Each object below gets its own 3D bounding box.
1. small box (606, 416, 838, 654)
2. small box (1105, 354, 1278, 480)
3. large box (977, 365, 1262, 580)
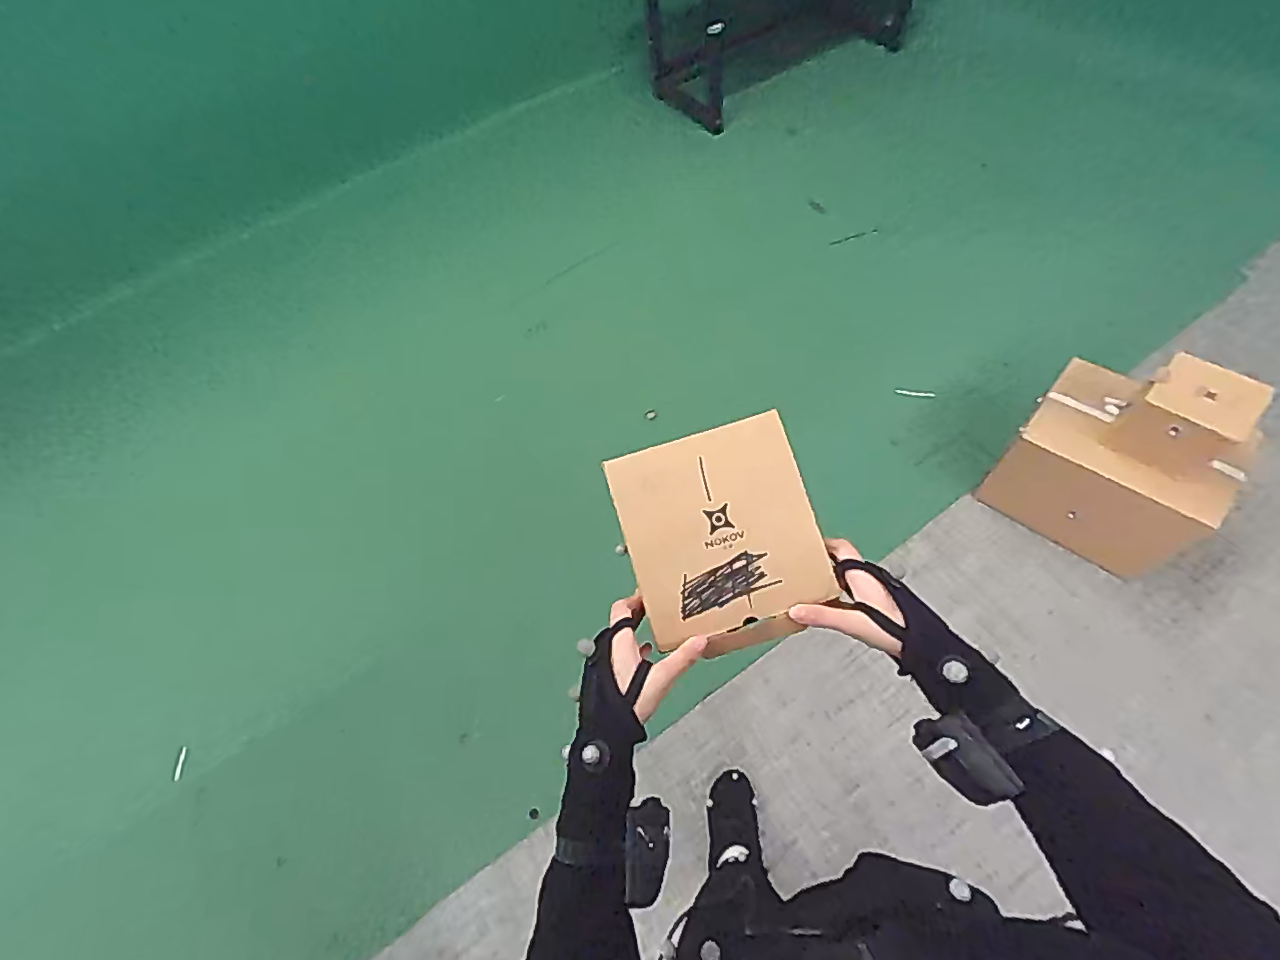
[{"bbox_3d":[0.073,0.056,0.549,0.168,0.176,0.179,-16,81,-1],"label":"small box"},{"bbox_3d":[1.163,-0.130,1.158,0.179,0.176,0.168,38,74,27],"label":"small box"},{"bbox_3d":[1.179,-0.017,1.378,0.408,0.320,0.320,34,69,27],"label":"large box"}]
